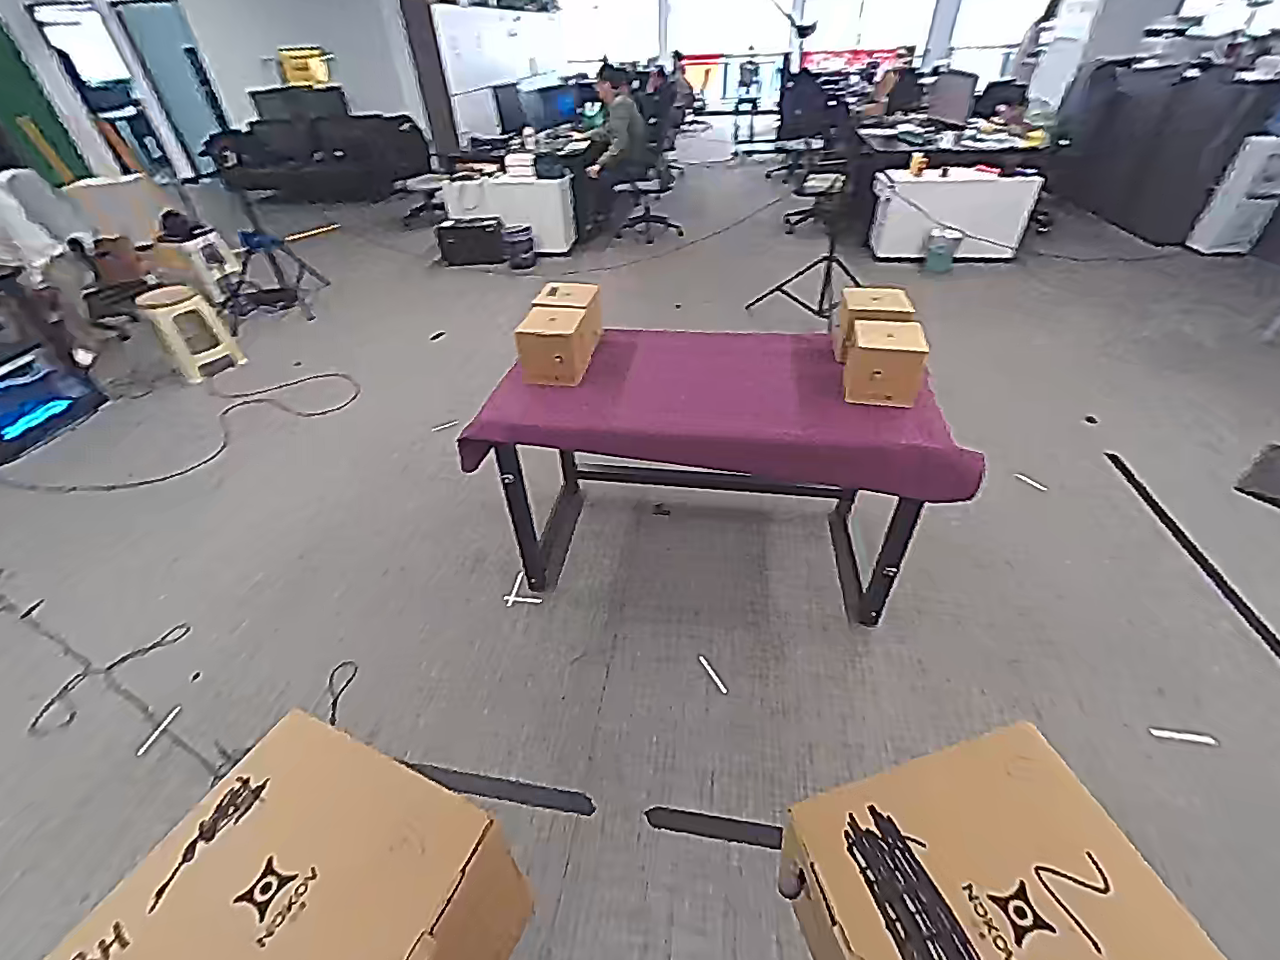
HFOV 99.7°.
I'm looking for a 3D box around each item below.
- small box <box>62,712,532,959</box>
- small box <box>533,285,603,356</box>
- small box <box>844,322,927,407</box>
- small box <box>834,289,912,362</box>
[{"bbox_3d":[-0.188,0.291,0.345,0.179,0.176,0.168,16,42,19],"label":"small box"},{"bbox_3d":[-0.226,-0.512,1.740,0.179,0.176,0.168,7,42,9],"label":"small box"},{"bbox_3d":[0.652,-0.311,1.456,0.168,0.176,0.179,7,40,13],"label":"small box"},{"bbox_3d":[0.687,-0.458,1.621,0.179,0.176,0.168,5,41,9],"label":"small box"}]
